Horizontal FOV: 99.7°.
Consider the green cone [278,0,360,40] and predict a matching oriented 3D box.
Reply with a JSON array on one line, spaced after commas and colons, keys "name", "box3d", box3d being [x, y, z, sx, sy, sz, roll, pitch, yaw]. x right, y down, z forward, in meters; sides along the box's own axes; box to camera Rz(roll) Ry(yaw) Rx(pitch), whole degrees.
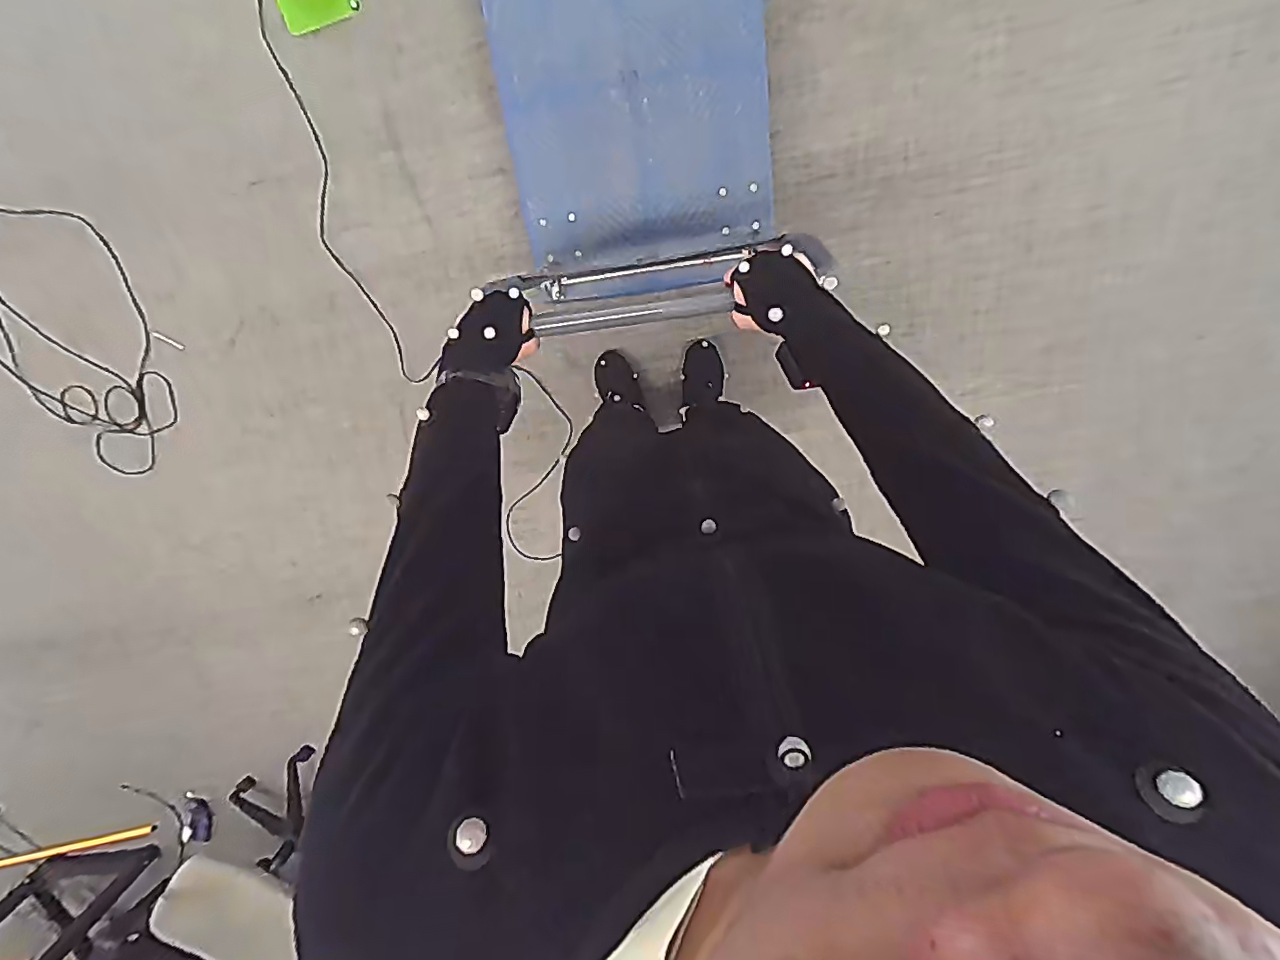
[{"name": "green cone", "box3d": [-0.801, -1.130, 1.124, 0.202, 0.368, 0.200, -12, 108, 11]}]
